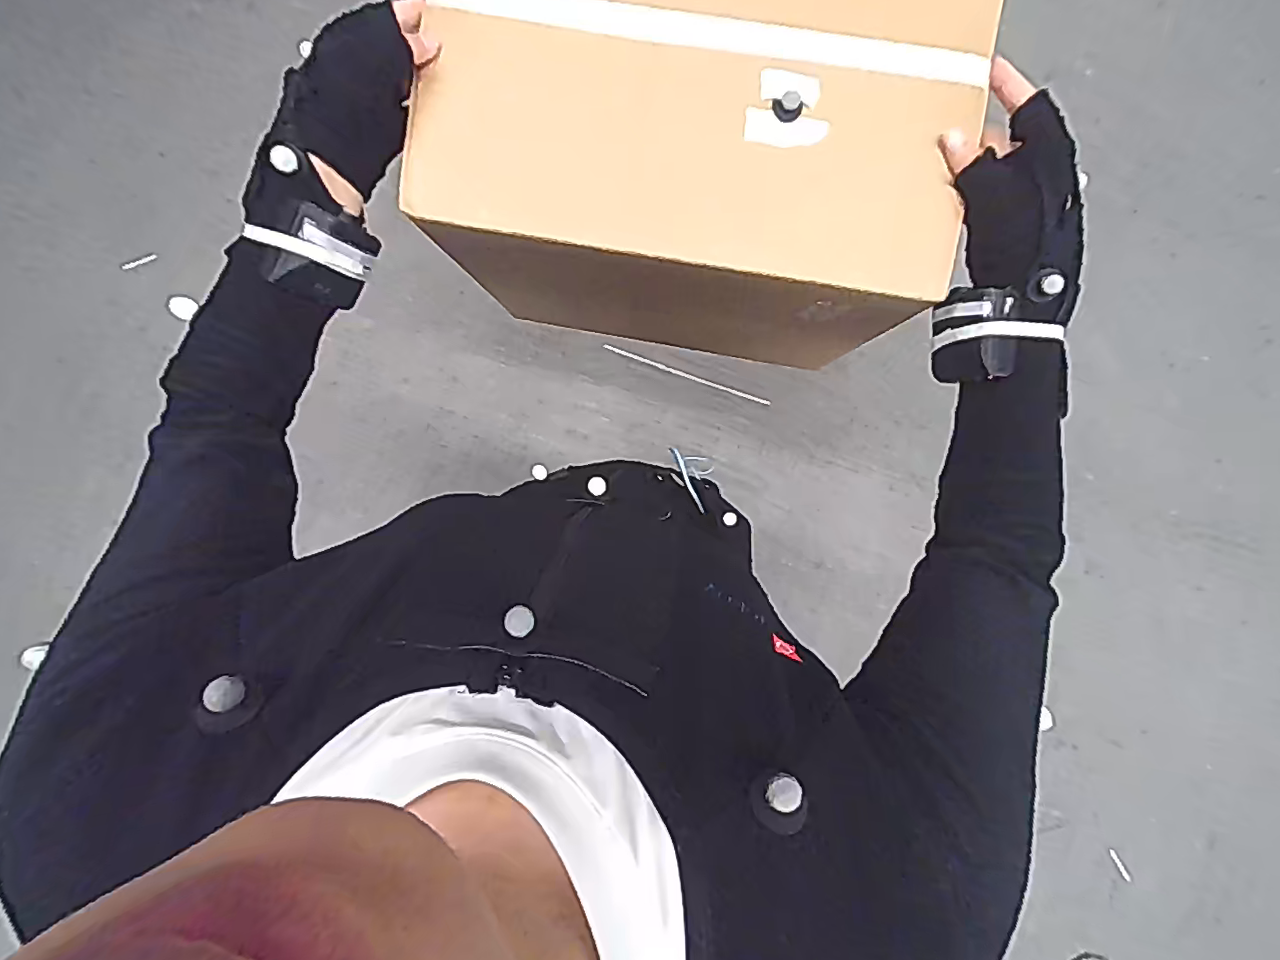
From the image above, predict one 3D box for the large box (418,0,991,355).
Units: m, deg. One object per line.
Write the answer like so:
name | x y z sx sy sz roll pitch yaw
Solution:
large box | 0.051 -0.330 0.545 0.408 0.320 0.320 9 94 1
